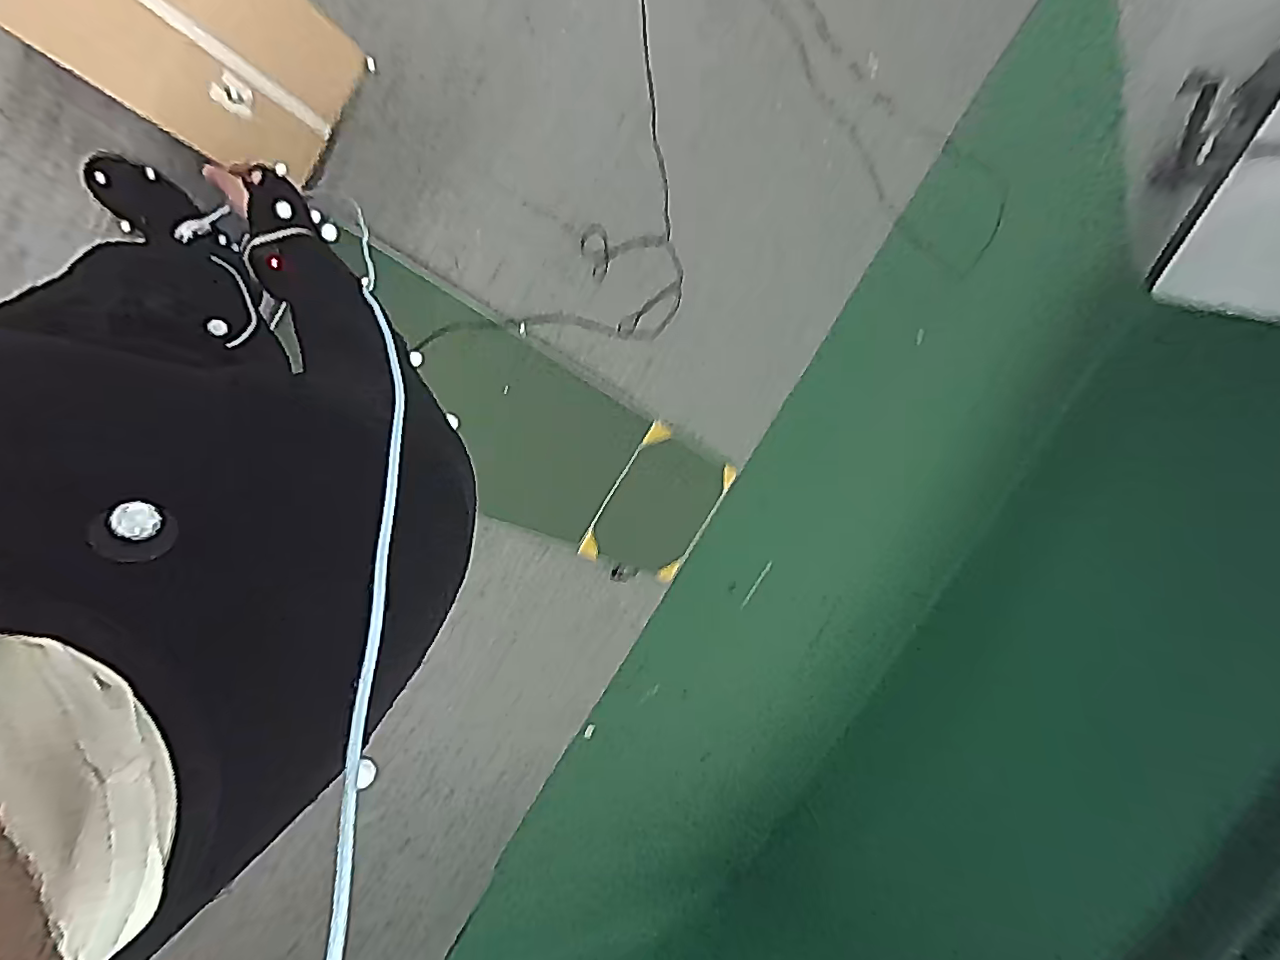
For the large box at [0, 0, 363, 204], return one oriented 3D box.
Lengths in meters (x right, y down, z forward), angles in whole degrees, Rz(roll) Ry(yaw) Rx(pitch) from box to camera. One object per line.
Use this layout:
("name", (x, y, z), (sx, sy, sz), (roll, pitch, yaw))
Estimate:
("large box", (-0.794, -0.763, 0.964), (0.408, 0.320, 0.320), (26, 97, -45))
